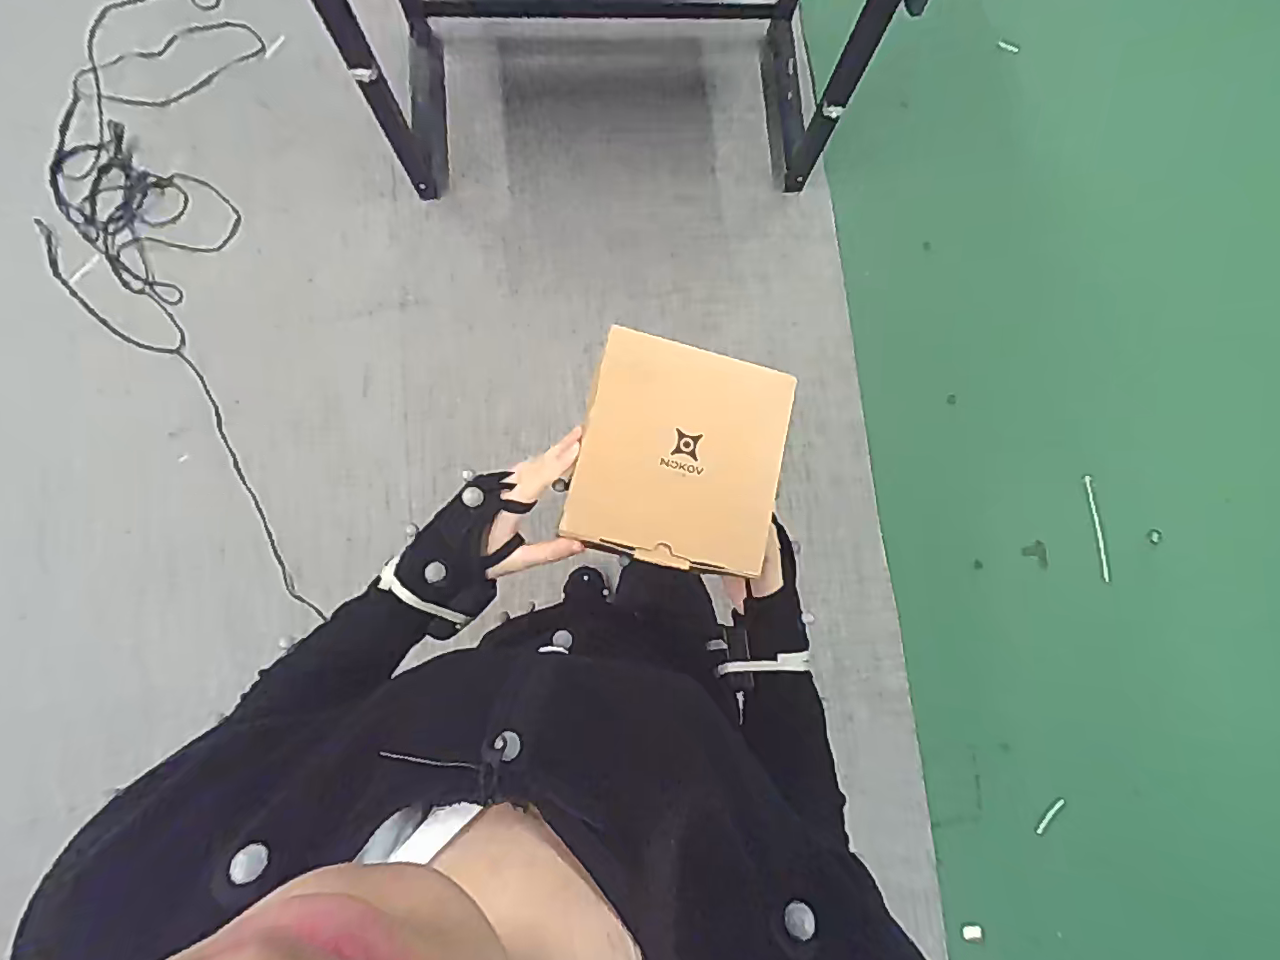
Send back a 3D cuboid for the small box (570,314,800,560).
[{"bbox_3d":[0.031,-0.025,0.523,0.168,0.176,0.179,14,80,-8],"label":"small box"}]
